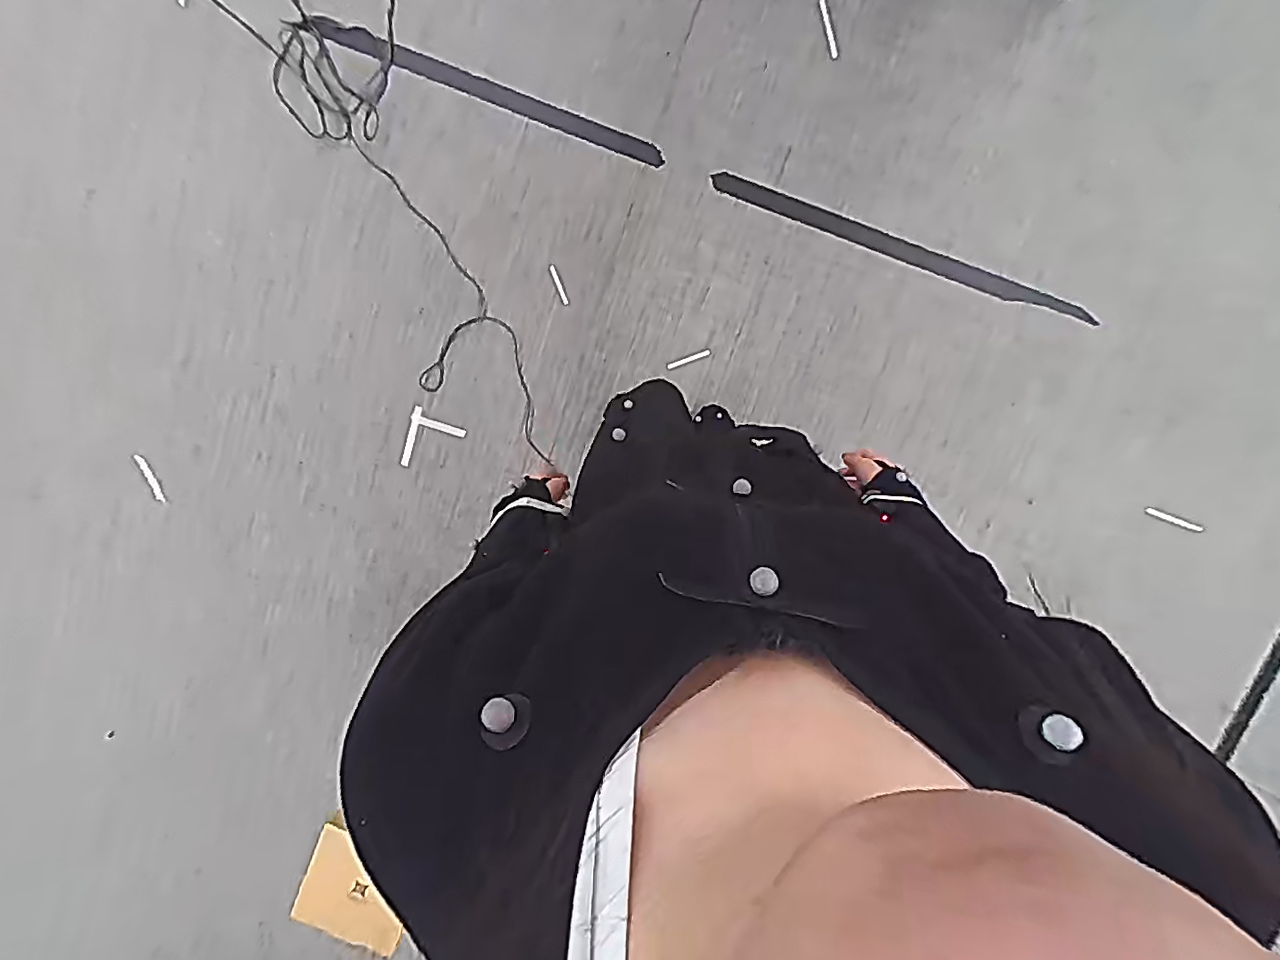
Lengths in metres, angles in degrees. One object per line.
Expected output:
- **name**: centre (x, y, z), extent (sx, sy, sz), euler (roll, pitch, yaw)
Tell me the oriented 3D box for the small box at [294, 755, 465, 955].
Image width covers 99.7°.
- **small box**: centre (-0.402, 0.586, 0.868), extent (0.168, 0.176, 0.179), euler (23, 99, -1)
